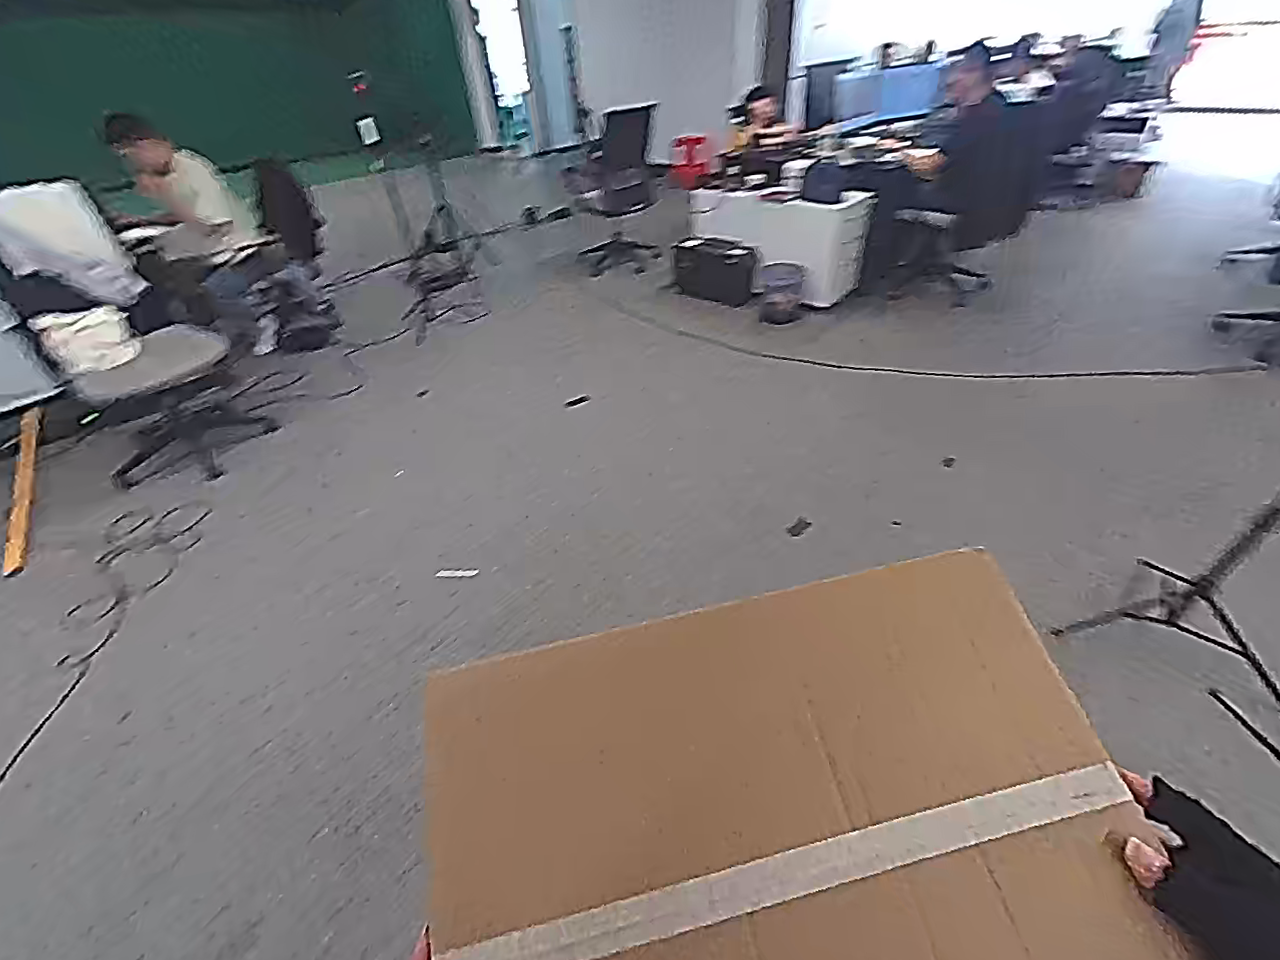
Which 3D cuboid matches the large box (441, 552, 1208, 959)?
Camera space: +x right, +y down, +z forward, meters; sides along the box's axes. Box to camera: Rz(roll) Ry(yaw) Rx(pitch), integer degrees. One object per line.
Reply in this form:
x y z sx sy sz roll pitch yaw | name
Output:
0.093 0.297 0.444 0.408 0.320 0.320 -12 62 -5 | large box
